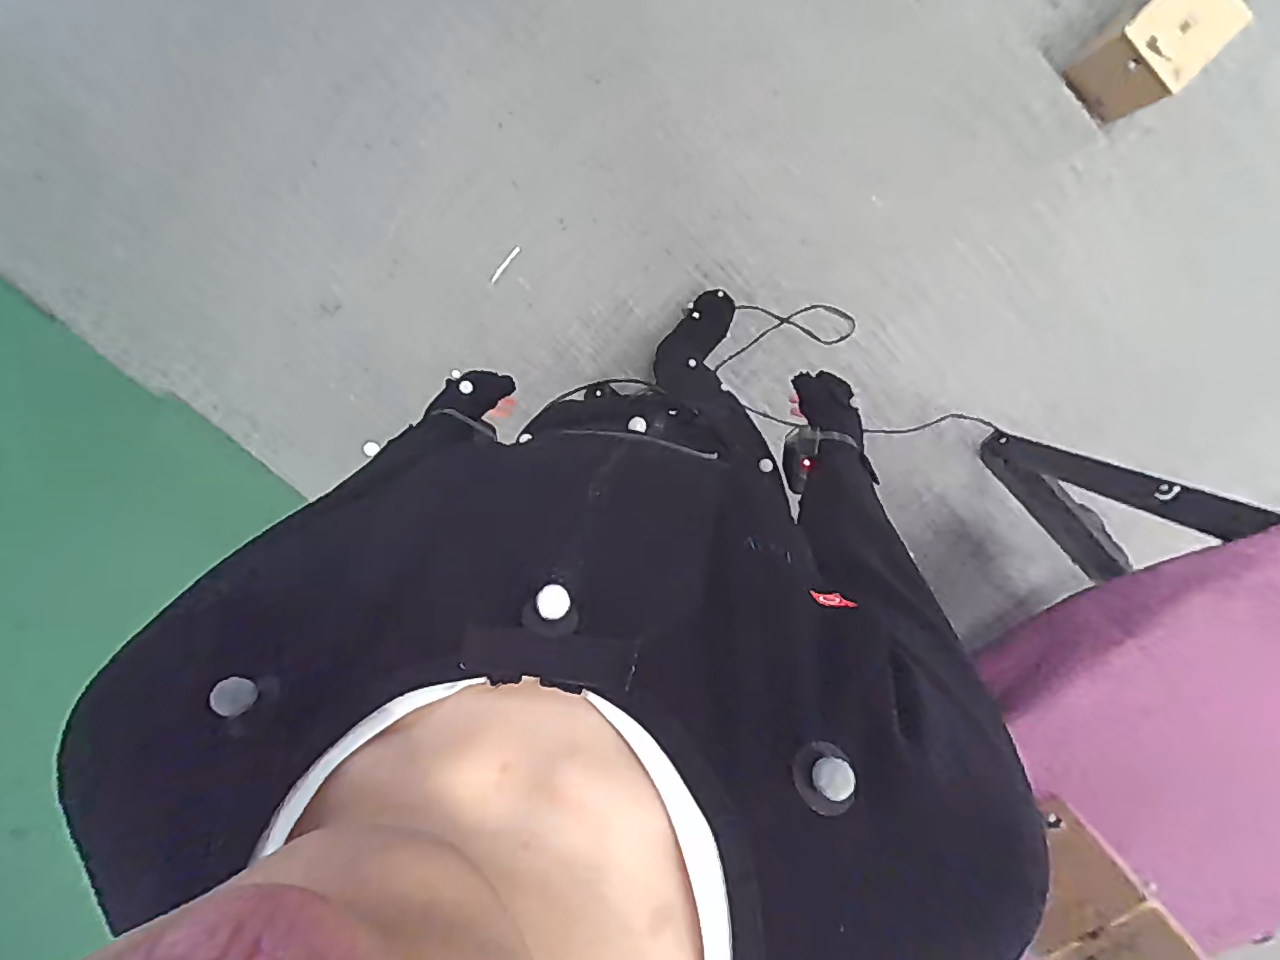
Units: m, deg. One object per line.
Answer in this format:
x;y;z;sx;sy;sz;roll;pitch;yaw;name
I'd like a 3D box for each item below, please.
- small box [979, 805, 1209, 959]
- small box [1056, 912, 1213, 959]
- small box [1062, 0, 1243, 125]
0.643;0.614;0.782;0.168;0.176;0.179;-43;100;12;small box
0.643;0.660;0.624;0.168;0.176;0.179;-43;99;12;small box
1.041;-0.890;1.117;0.168;0.176;0.179;42;102;-8;small box
